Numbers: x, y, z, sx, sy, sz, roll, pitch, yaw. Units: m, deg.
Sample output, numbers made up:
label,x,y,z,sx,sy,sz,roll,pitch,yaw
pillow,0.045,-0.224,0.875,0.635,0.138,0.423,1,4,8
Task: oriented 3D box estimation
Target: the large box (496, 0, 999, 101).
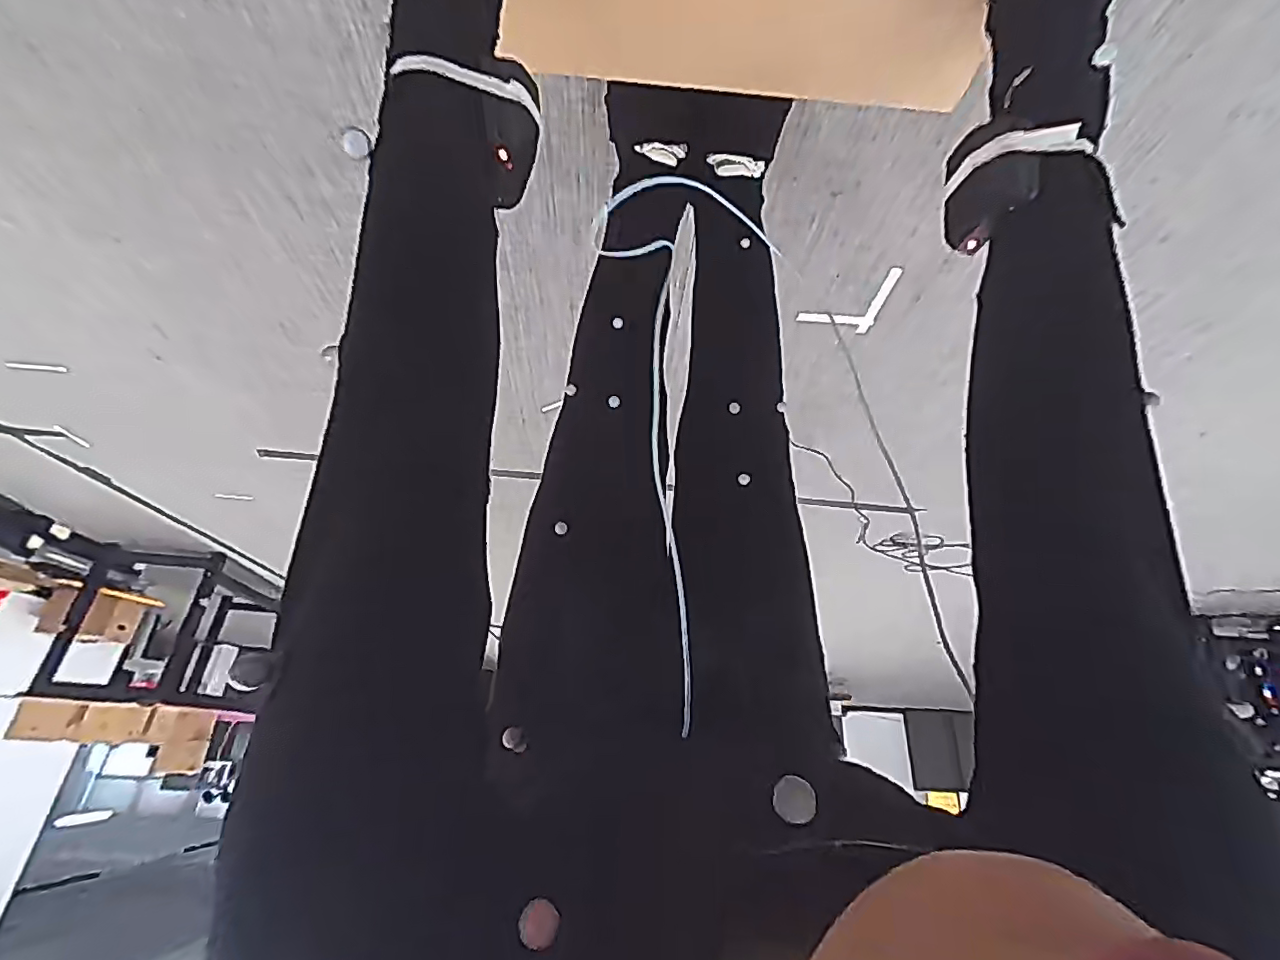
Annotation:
label,x,y,z,sx,sy,sz,roll,pitch,yaw
large box,0.092,-0.552,0.412,0.408,0.320,0.320,4,155,-2
